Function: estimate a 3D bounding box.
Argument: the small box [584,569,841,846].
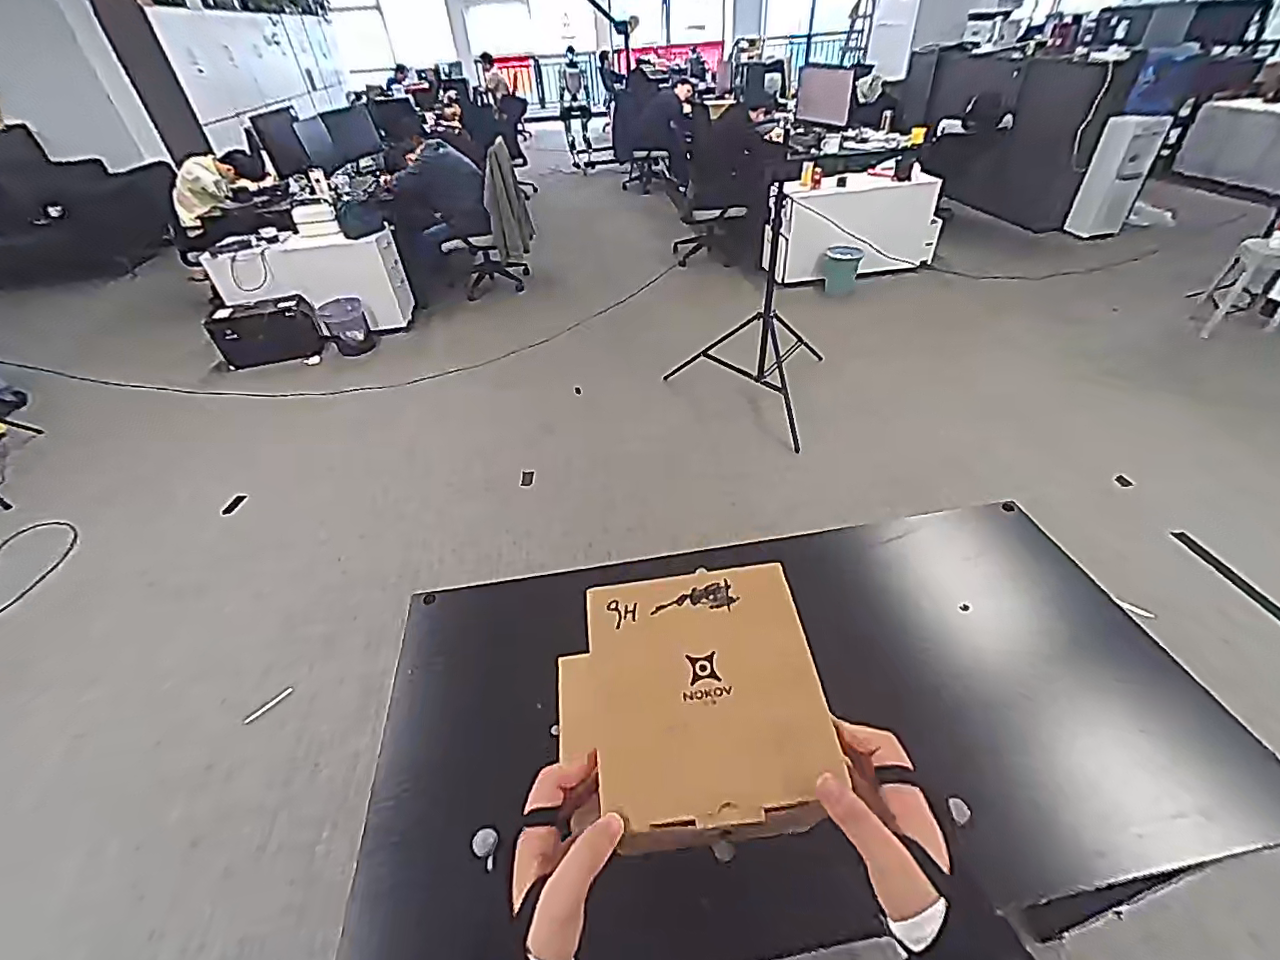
[{"bbox_3d":[0.048,0.200,0.462,0.168,0.176,0.179,-8,53,-1],"label":"small box"}]

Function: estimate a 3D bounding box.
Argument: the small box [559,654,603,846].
[{"bbox_3d":[-0.012,0.342,0.706,0.168,0.176,0.179,-8,40,-3],"label":"small box"}]
